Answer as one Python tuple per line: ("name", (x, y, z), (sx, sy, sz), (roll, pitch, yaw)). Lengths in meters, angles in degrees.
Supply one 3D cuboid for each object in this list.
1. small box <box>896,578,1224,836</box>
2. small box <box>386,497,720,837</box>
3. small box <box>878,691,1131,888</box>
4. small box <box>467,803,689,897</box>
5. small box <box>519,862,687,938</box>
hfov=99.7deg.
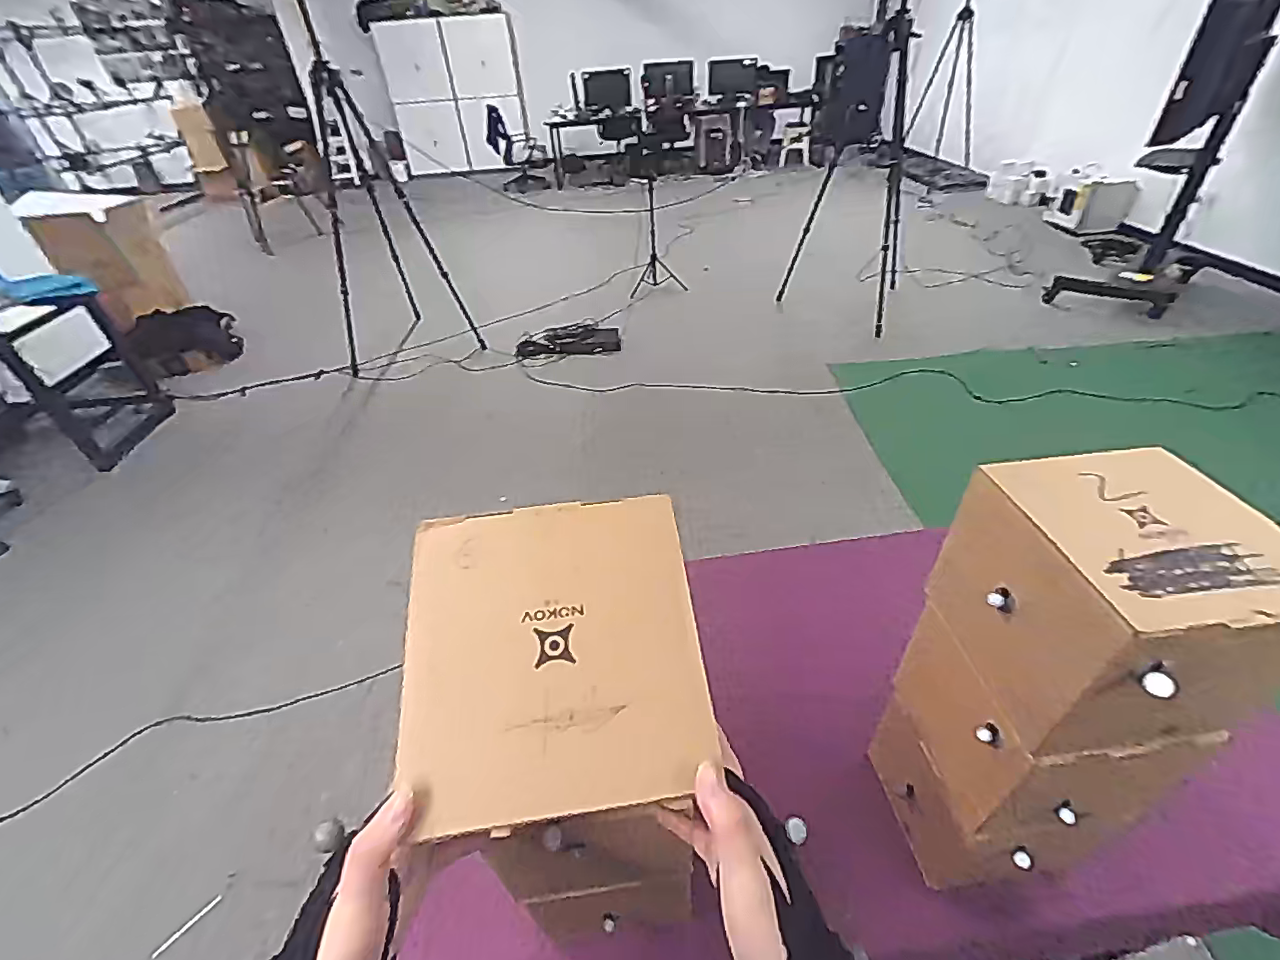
("small box", (0.390, 0.227, 0.550), (0.168, 0.176, 0.179), (-6, 39, -2))
("small box", (-0.053, 0.132, 0.374), (0.168, 0.176, 0.179), (-5, 60, -5))
("small box", (0.406, 0.358, 0.647), (0.179, 0.176, 0.168), (-8, 39, -3))
("small box", (-0.051, 0.279, 0.531), (0.179, 0.176, 0.168), (-7, 39, -3))
("small box", (-0.039, 0.407, 0.635), (0.168, 0.176, 0.179), (-6, 38, -3))
